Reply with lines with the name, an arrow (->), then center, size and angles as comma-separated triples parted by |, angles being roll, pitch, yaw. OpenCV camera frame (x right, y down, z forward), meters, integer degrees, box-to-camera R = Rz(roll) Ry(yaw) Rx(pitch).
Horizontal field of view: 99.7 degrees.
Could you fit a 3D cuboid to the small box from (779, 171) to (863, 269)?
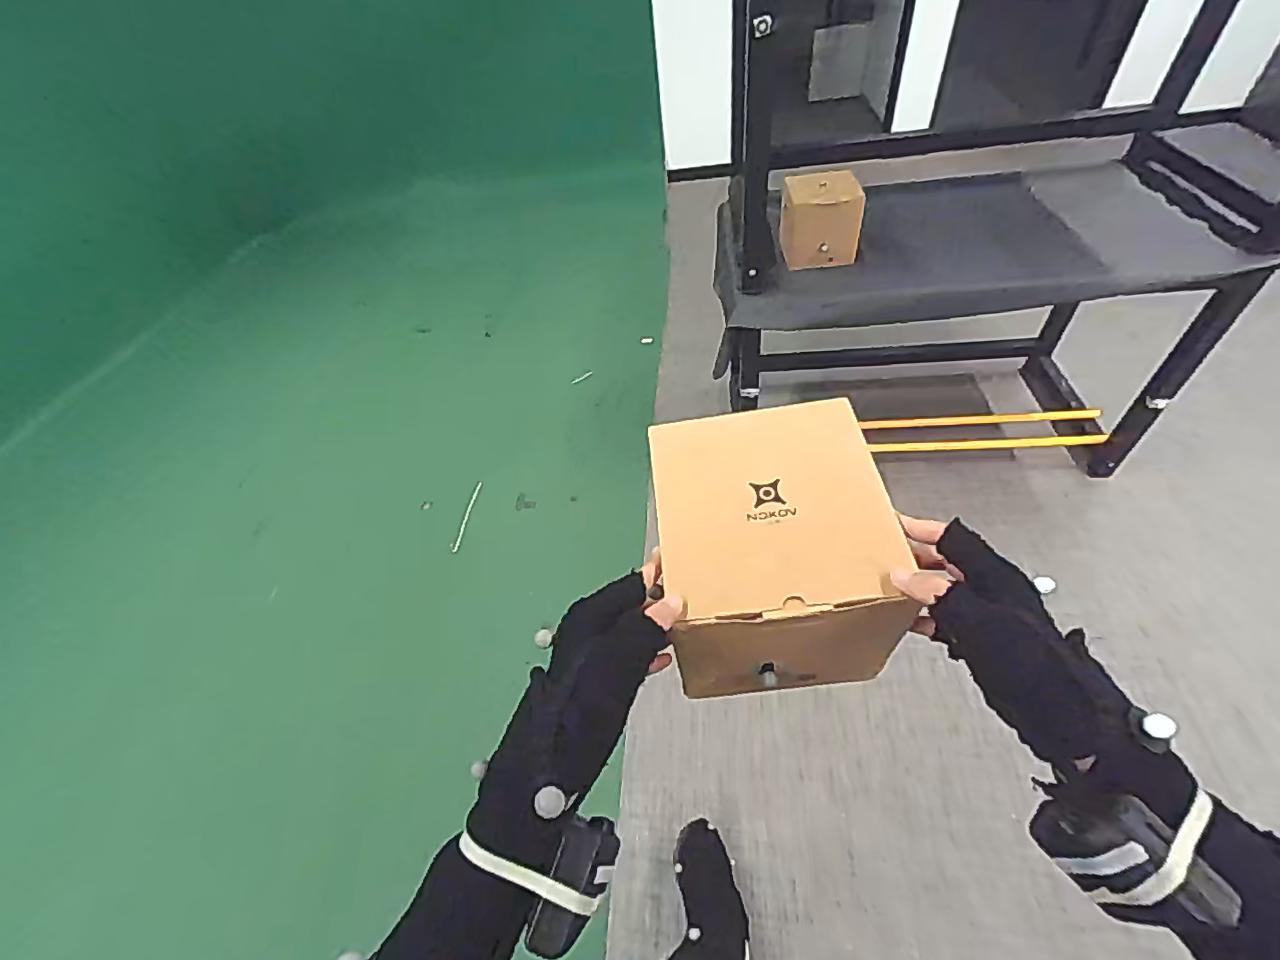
small box -> 0.454, -0.664, 1.386 | 0.168, 0.176, 0.179 | -4, 48, 7
